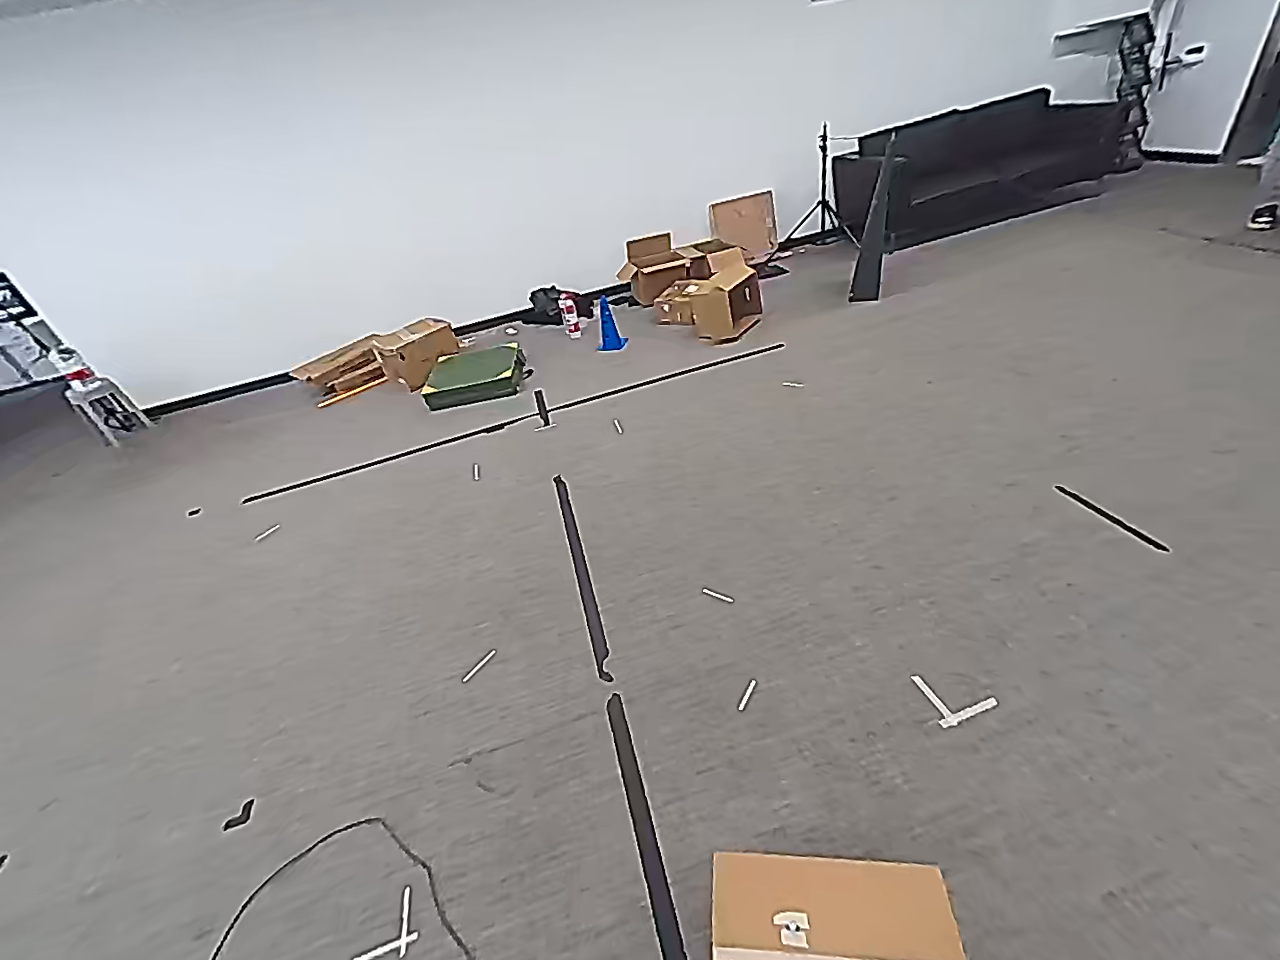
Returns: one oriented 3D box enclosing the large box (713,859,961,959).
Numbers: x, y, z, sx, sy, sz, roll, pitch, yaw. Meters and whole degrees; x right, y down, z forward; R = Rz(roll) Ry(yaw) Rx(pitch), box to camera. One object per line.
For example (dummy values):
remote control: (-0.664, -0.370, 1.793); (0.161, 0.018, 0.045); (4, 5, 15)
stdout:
large box: (0.351, 0.923, 0.973); (0.408, 0.320, 0.320); (-5, 35, 11)
